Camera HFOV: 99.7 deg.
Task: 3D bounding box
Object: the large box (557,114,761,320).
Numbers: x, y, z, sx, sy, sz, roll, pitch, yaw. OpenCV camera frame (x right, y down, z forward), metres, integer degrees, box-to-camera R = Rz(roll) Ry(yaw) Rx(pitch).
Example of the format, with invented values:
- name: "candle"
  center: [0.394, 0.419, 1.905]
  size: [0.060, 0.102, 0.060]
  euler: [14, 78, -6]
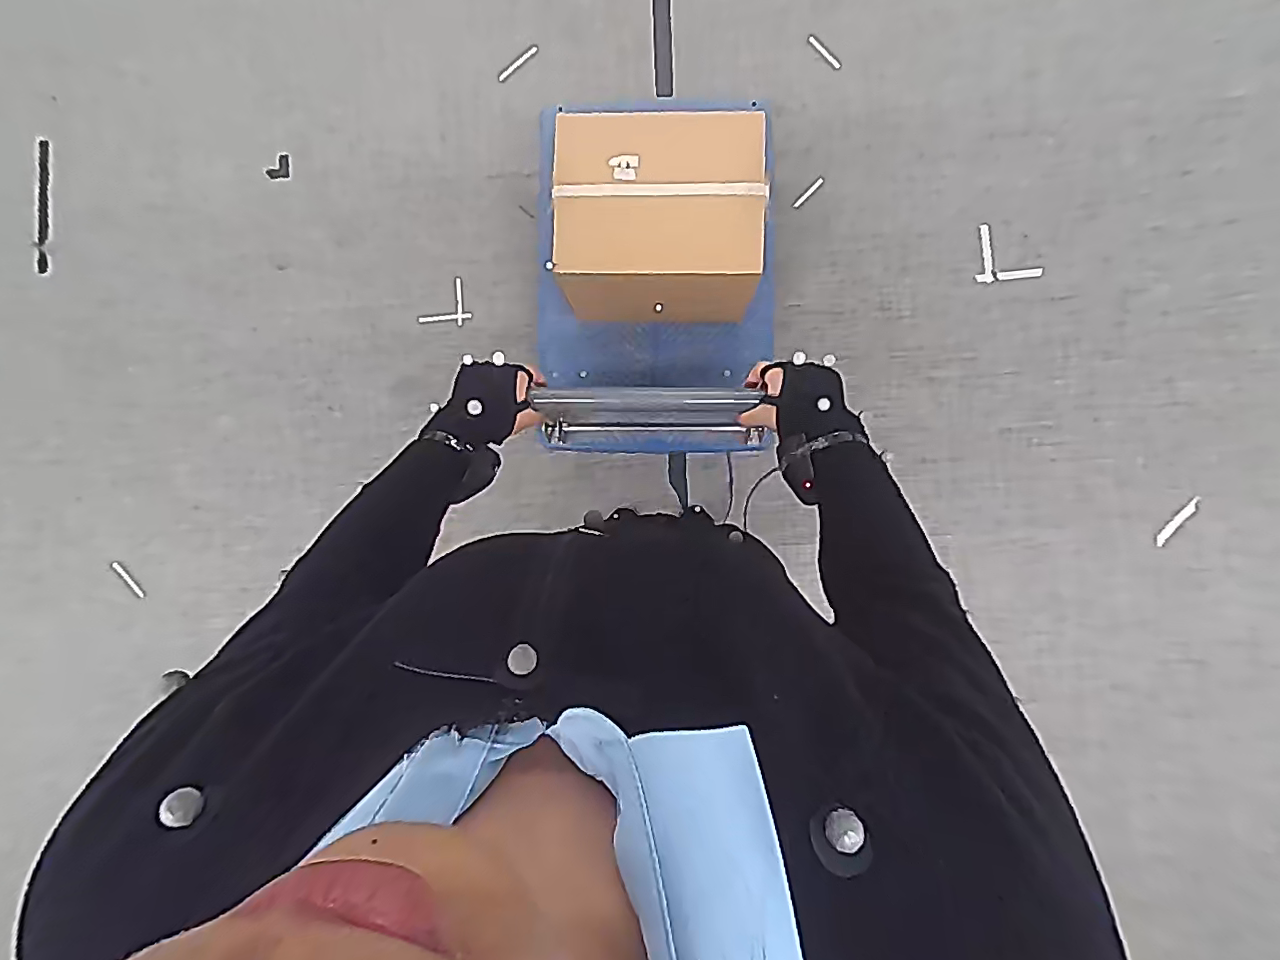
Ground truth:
- name: "large box"
  center: [0.046, -0.554, 1.203]
  size: [0.408, 0.320, 0.320]
  euler: [1, 88, 4]
